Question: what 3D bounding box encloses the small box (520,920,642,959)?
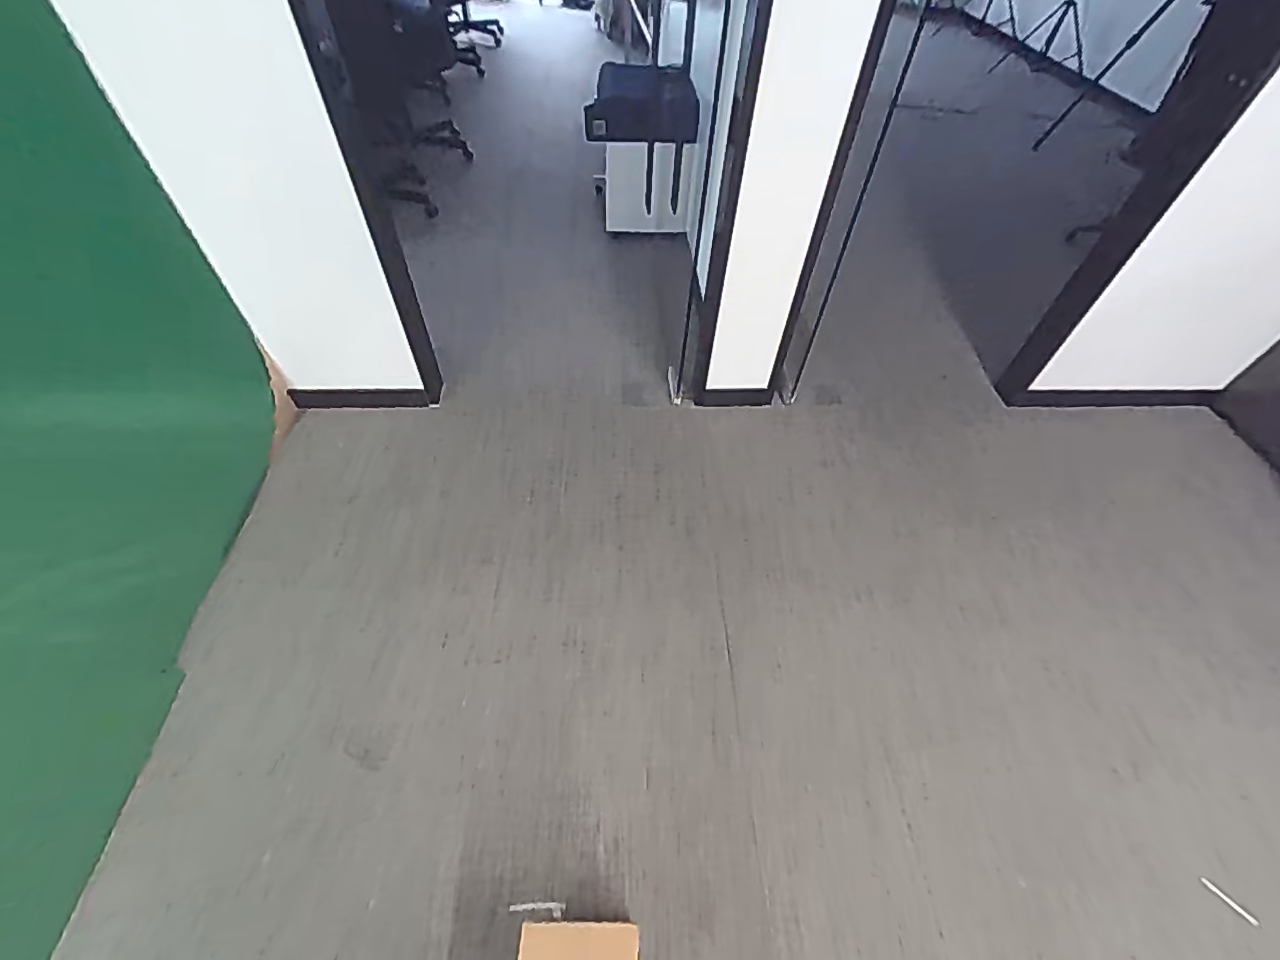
[{"bbox_3d":[-0.087,0.768,0.809,0.179,0.176,0.168,2,51,-1],"label":"small box"}]
